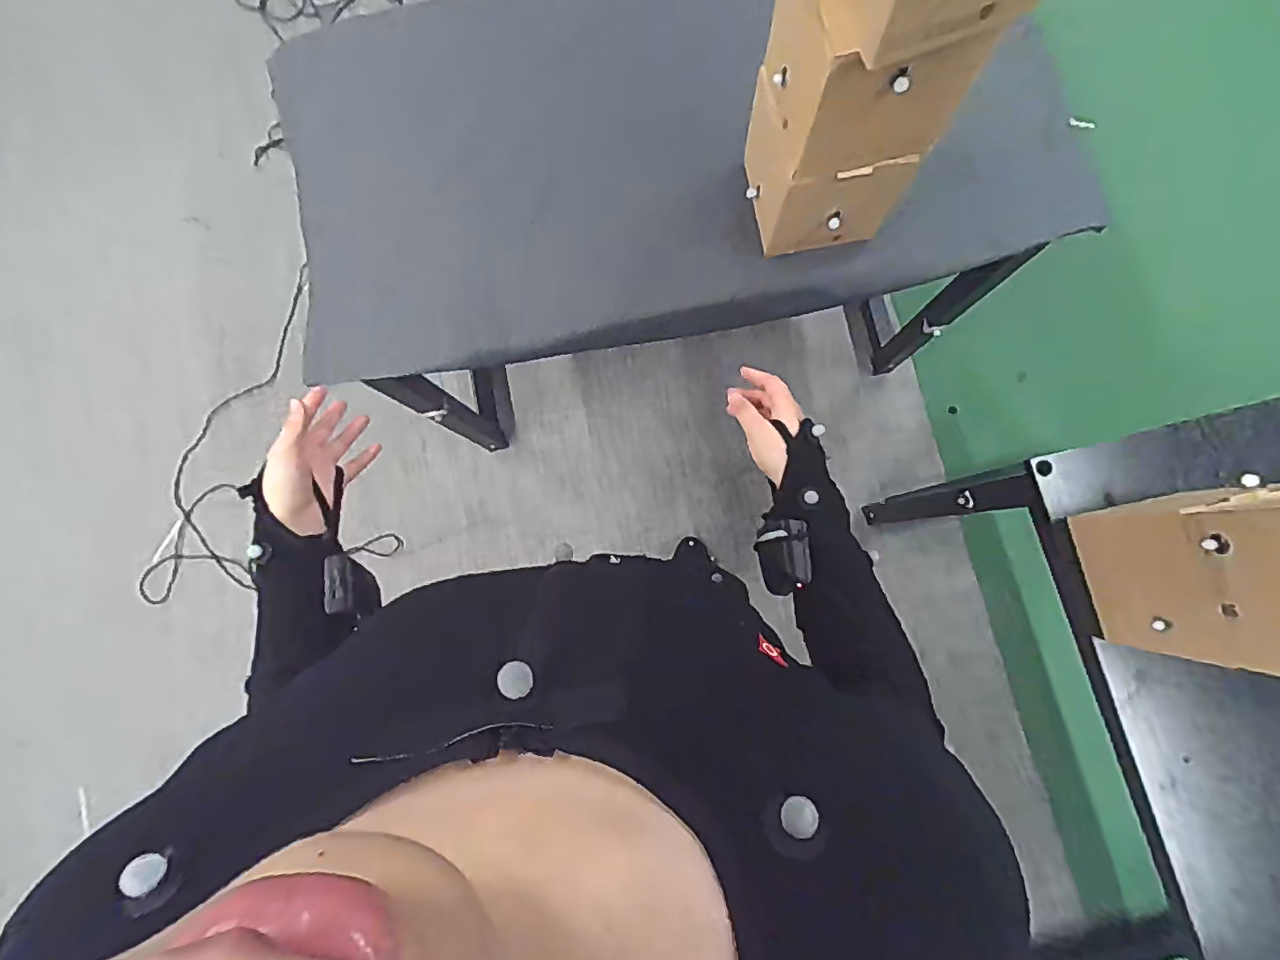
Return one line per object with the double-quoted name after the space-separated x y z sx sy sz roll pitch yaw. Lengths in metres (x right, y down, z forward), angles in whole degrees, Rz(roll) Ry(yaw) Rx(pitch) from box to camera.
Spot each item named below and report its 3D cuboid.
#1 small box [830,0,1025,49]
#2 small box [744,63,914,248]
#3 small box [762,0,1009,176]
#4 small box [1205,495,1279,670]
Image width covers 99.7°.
0.246 -0.492 0.427 0.168 0.176 0.179 -20 81 1 "small box"
0.248 -0.448 0.752 0.168 0.176 0.179 -10 81 3 "small box"
0.247 -0.474 0.591 0.179 0.176 0.168 -12 81 3 "small box"
0.685 0.090 0.494 0.179 0.176 0.168 -11 84 1 "small box"
